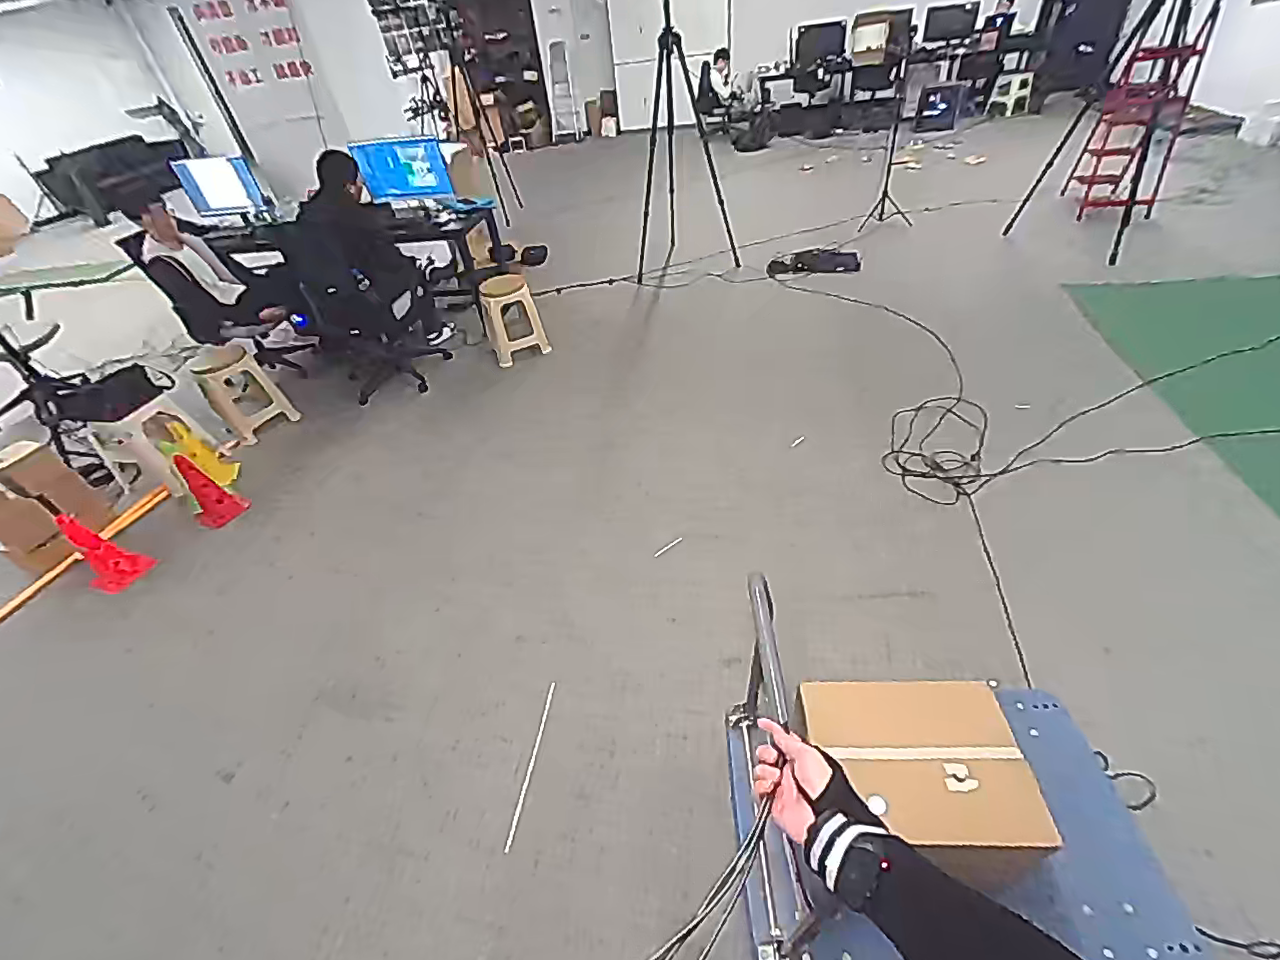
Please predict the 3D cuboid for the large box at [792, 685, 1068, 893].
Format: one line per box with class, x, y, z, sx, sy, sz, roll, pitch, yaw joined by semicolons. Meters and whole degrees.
large box;0.568;0.663;1.163;0.408;0.320;0.320;-2;42;6
